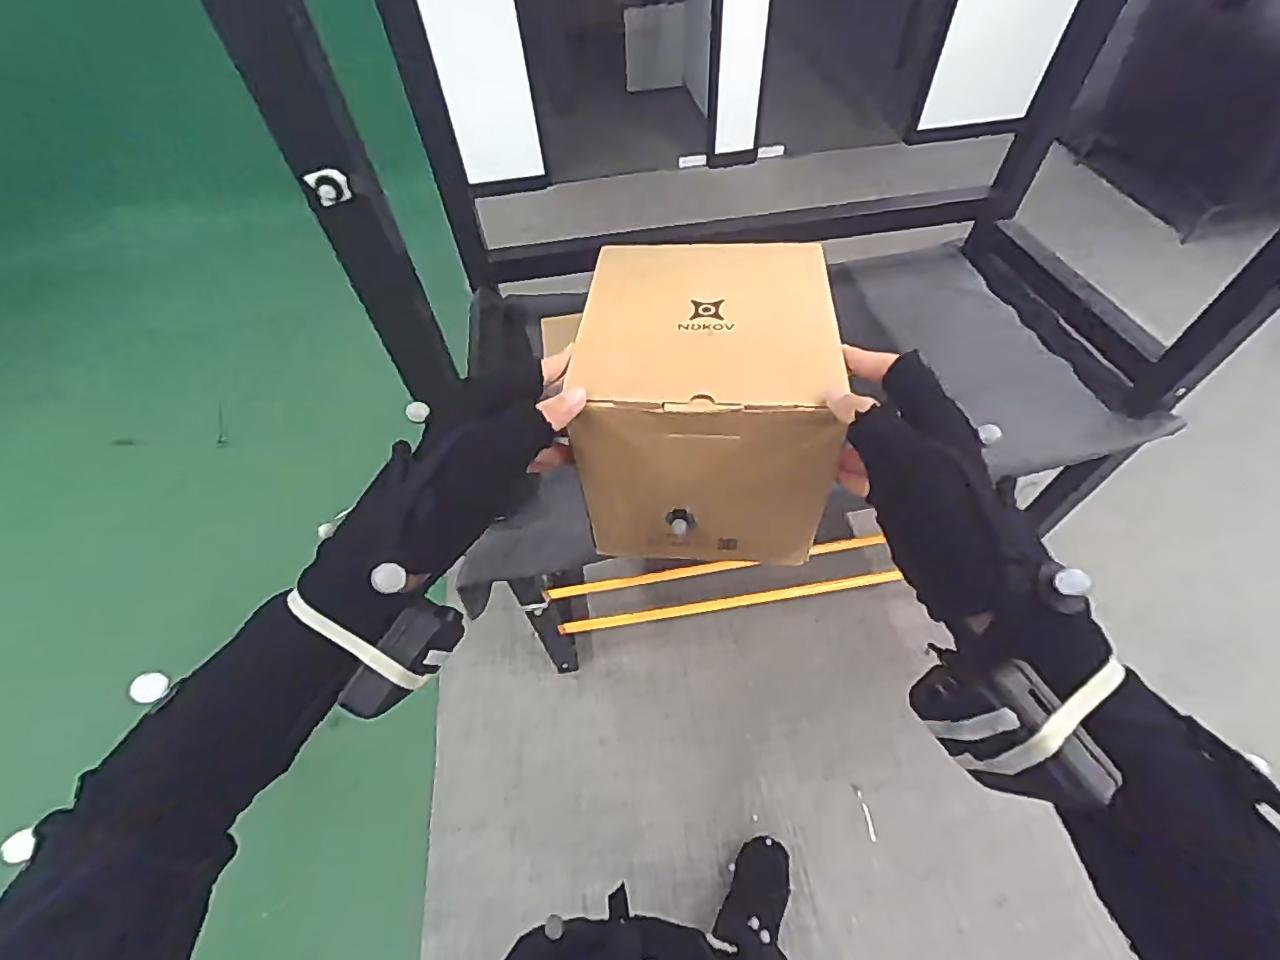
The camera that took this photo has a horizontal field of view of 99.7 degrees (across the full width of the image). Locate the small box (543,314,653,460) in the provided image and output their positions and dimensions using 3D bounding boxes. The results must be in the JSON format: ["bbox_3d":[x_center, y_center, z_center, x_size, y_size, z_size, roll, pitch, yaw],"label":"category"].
[{"bbox_3d":[-0.072,-0.160,0.940,0.168,0.176,0.179,-9,53,-3],"label":"small box"}]
